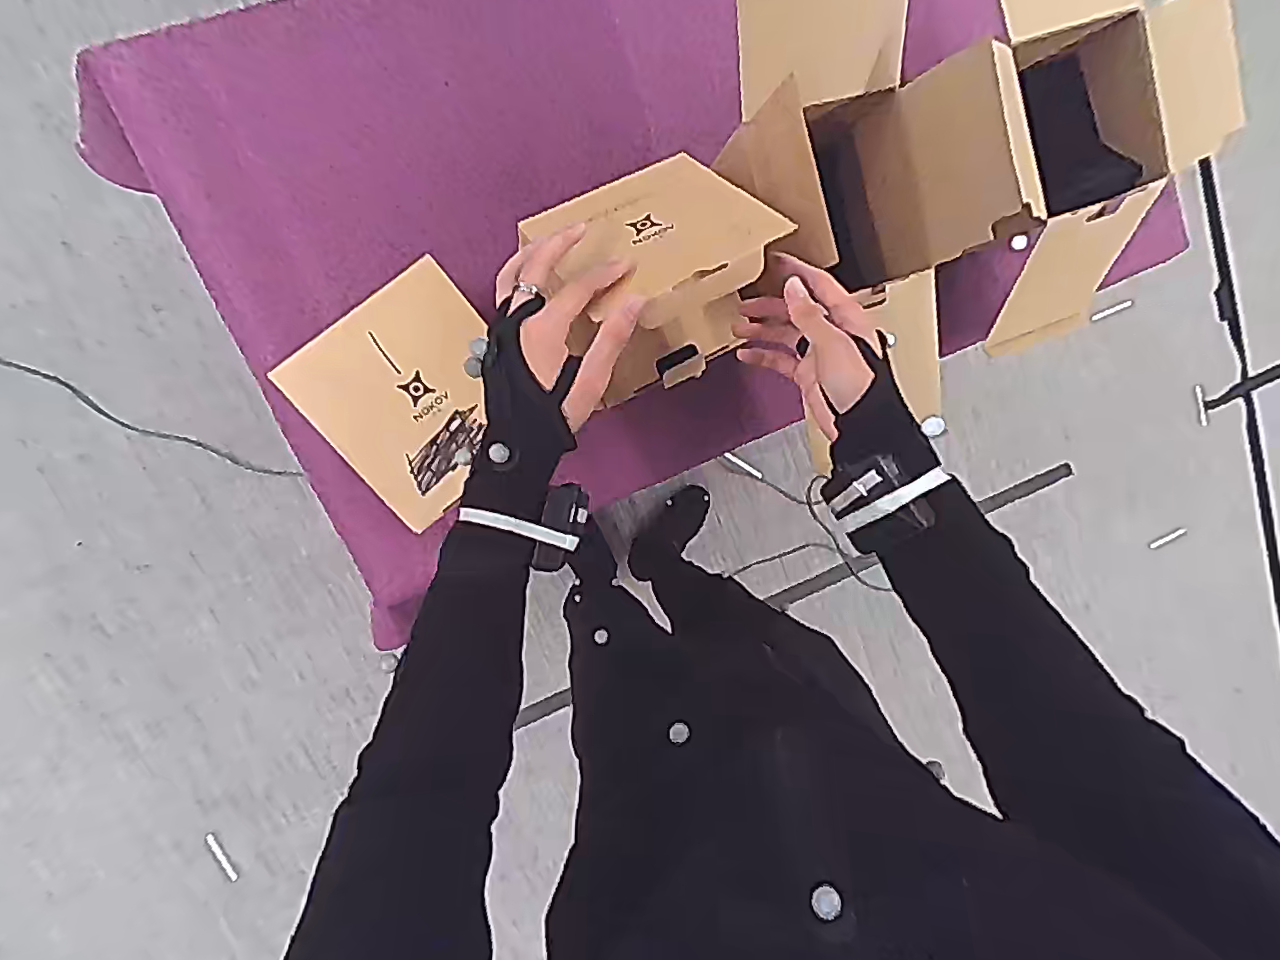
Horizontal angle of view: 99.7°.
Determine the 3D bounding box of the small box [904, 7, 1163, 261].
[{"bbox_3d":[0.442,-0.383,0.631,0.168,0.176,0.179,-21,100,-8],"label":"small box"}]
